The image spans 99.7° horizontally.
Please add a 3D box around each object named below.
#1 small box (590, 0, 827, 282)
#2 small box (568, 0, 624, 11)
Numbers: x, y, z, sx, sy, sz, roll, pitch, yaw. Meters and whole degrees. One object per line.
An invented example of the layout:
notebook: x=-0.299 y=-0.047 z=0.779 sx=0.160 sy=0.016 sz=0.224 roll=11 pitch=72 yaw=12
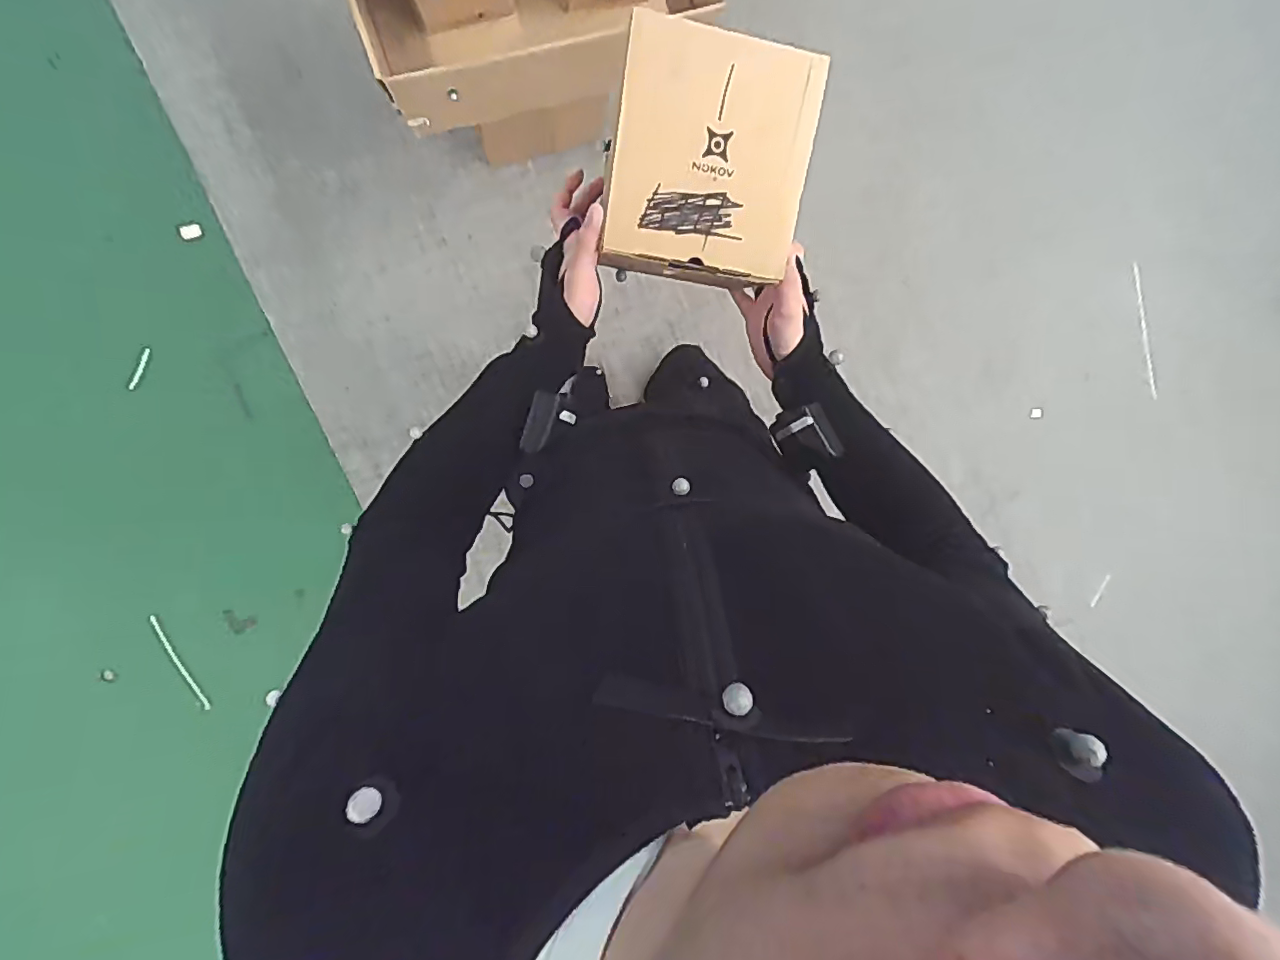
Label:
small box: x=0.045 y=-0.292 z=0.510 sx=0.168 sy=0.176 sz=0.179 roll=7 pitch=106 yaw=-10
small box: x=-0.064 y=-0.956 z=0.914 sx=0.168 sy=0.176 sz=0.179 roll=-16 pitch=104 yaw=-5
